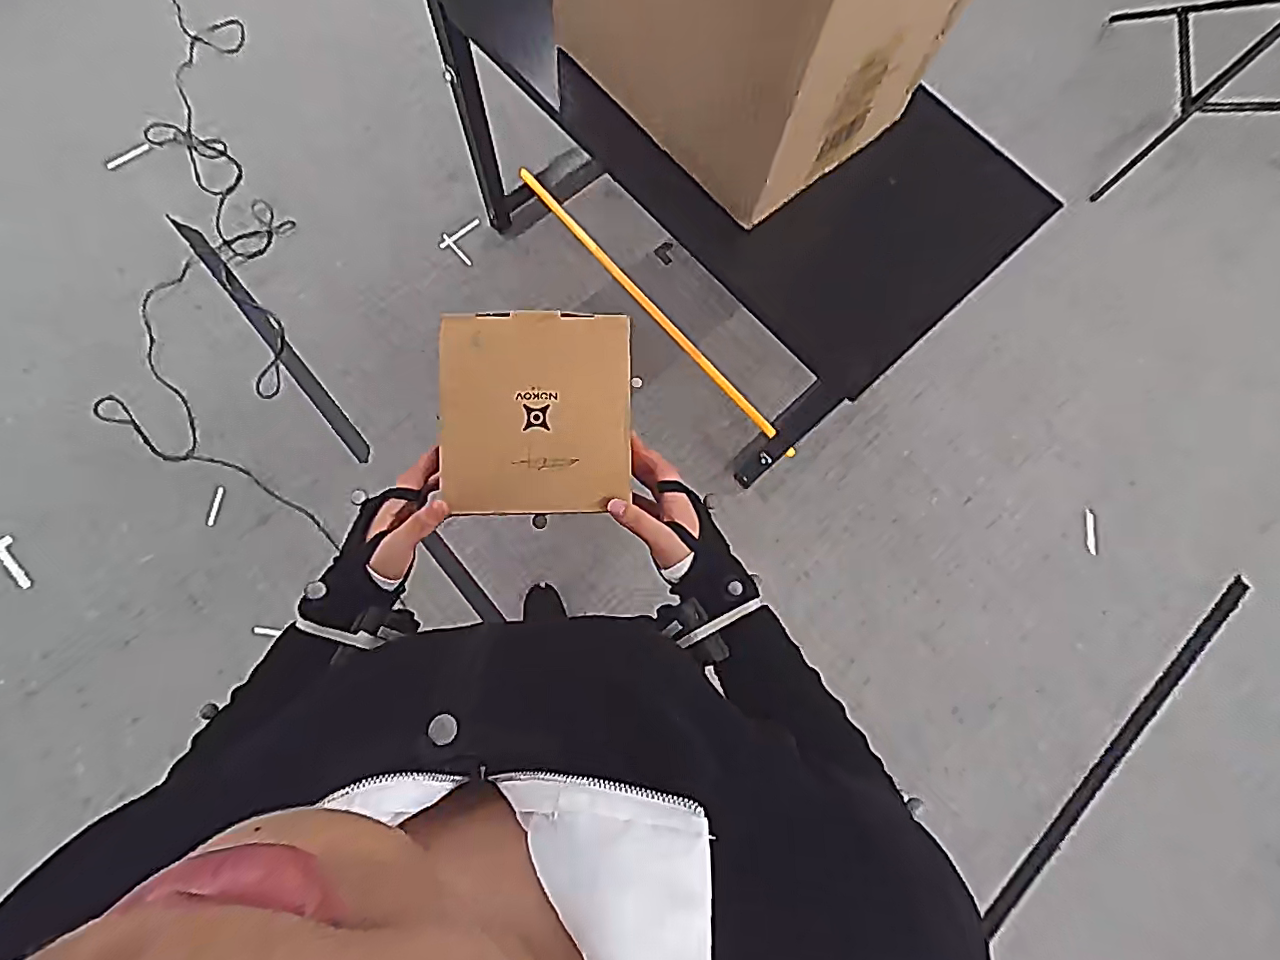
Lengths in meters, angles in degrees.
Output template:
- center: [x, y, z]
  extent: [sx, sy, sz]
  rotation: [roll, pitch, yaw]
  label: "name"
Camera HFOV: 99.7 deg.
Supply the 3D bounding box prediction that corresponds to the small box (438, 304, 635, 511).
- center: [-0.093, -0.058, 0.537]
  extent: [0.168, 0.176, 0.179]
  rotation: [-1, 88, -4]
  label: "small box"
